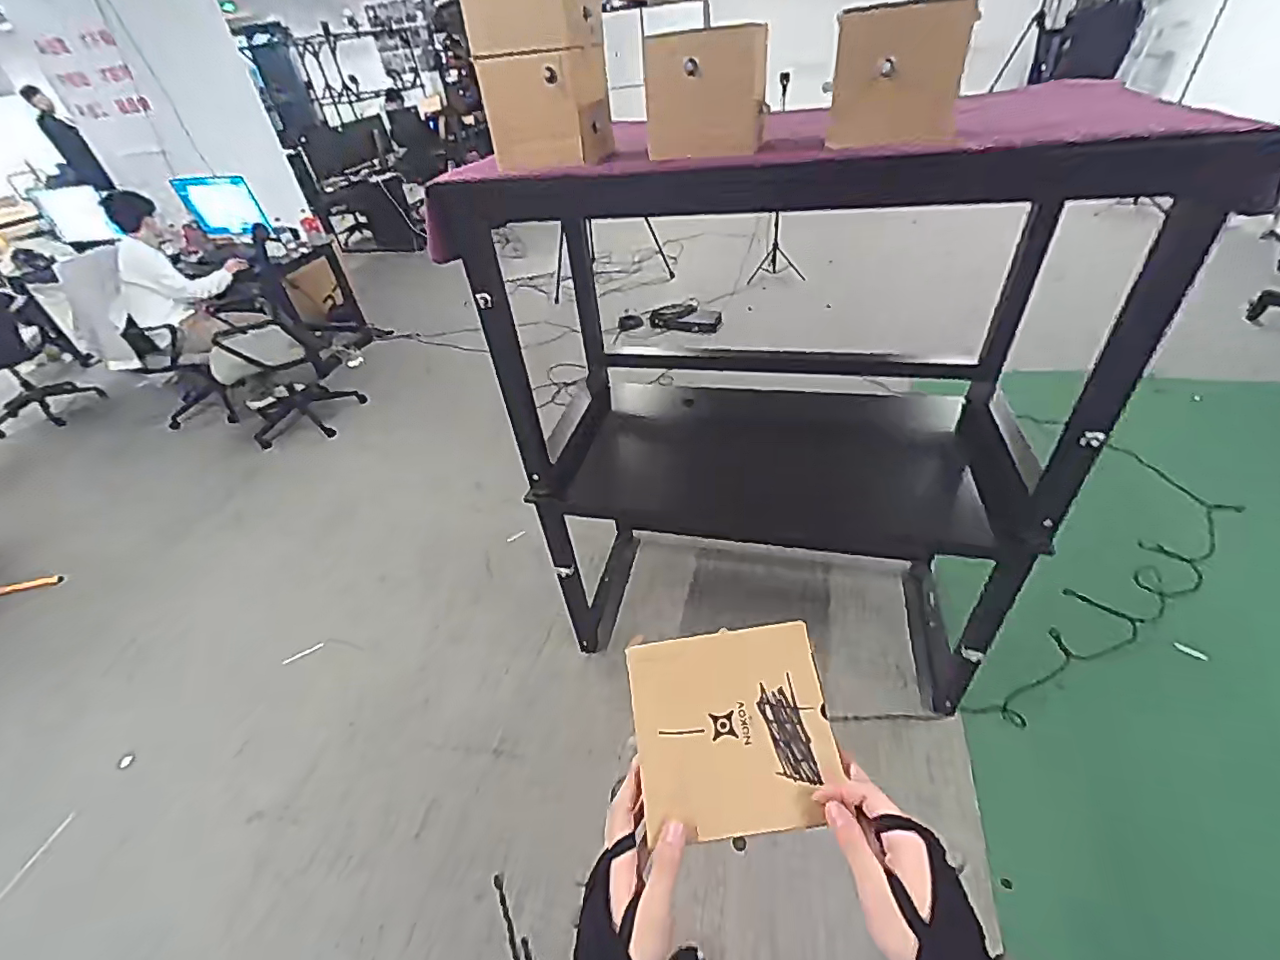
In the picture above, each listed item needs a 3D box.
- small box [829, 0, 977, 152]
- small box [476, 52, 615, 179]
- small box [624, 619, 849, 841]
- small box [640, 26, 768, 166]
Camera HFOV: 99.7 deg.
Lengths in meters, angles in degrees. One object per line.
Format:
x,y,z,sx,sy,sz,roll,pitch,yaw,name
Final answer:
0.387,-0.612,0.823,0.179,0.176,0.168,6,41,18,small box
-0.158,-0.652,0.971,0.179,0.176,0.168,6,41,16,small box
0.086,0.254,0.553,0.179,0.176,0.168,-10,60,2,small box
0.114,-0.635,0.900,0.179,0.176,0.168,6,41,17,small box
